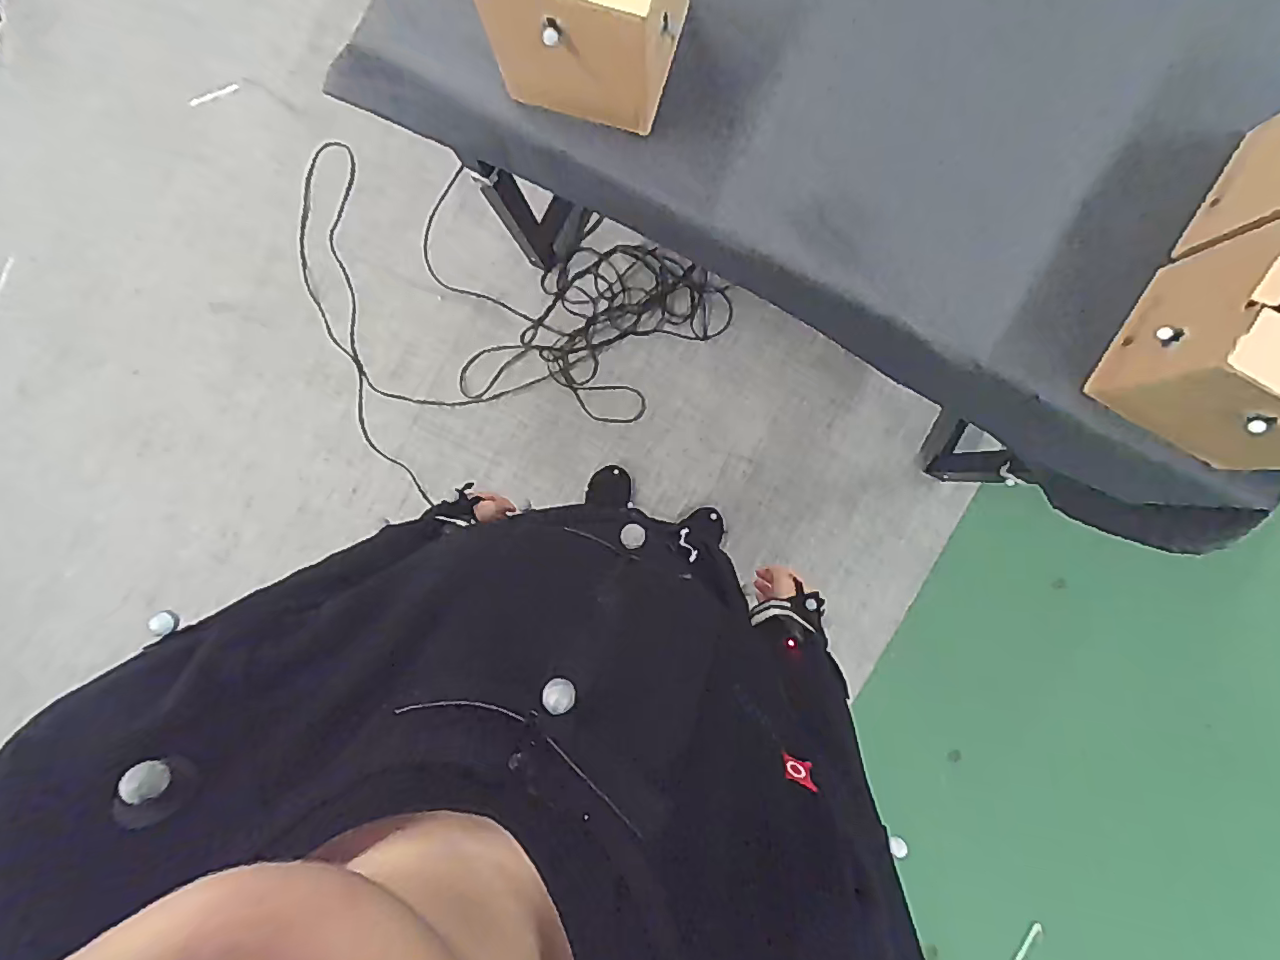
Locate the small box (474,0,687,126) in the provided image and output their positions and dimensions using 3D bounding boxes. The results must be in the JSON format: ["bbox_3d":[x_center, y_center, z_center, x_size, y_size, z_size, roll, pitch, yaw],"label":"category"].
[{"bbox_3d":[-0.050,-0.506,0.554,0.179,0.176,0.168,17,91,2],"label":"small box"}]
